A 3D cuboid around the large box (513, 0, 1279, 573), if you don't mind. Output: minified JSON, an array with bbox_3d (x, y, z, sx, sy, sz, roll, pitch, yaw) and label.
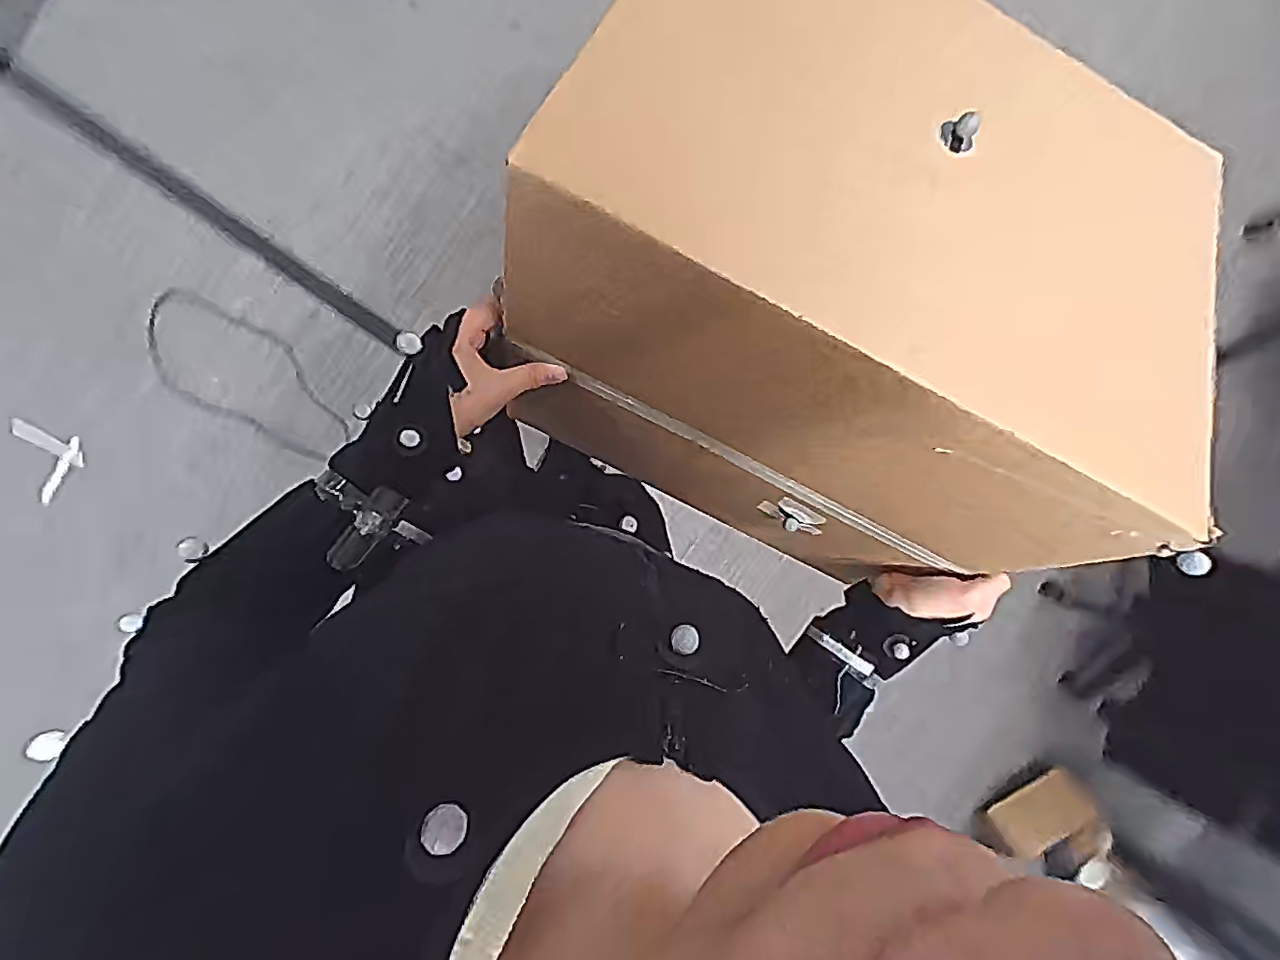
[{"bbox_3d":[0.147,-0.160,0.431,0.408,0.320,0.320,24,71,-6],"label":"large box"}]
